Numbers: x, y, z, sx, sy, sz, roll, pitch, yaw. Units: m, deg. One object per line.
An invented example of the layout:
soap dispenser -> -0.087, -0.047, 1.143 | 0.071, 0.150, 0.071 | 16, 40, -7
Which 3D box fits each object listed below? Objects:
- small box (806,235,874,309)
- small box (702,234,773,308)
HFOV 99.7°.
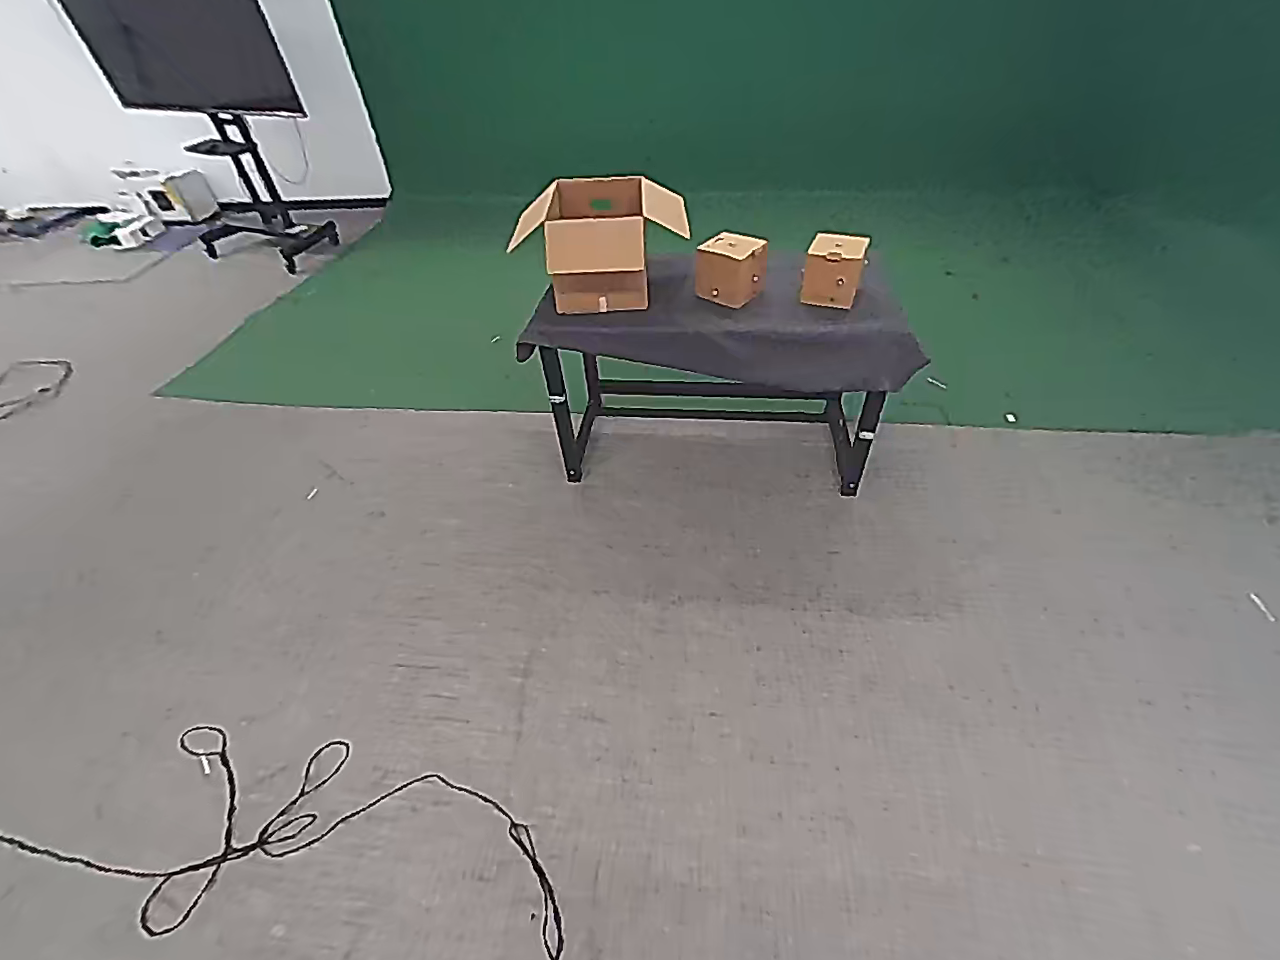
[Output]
small box -> 0.653, -0.681, 1.772 | 0.168, 0.176, 0.179 | 16, 47, 19
small box -> 0.326, -0.703, 1.826 | 0.179, 0.176, 0.168 | 30, 55, 30
